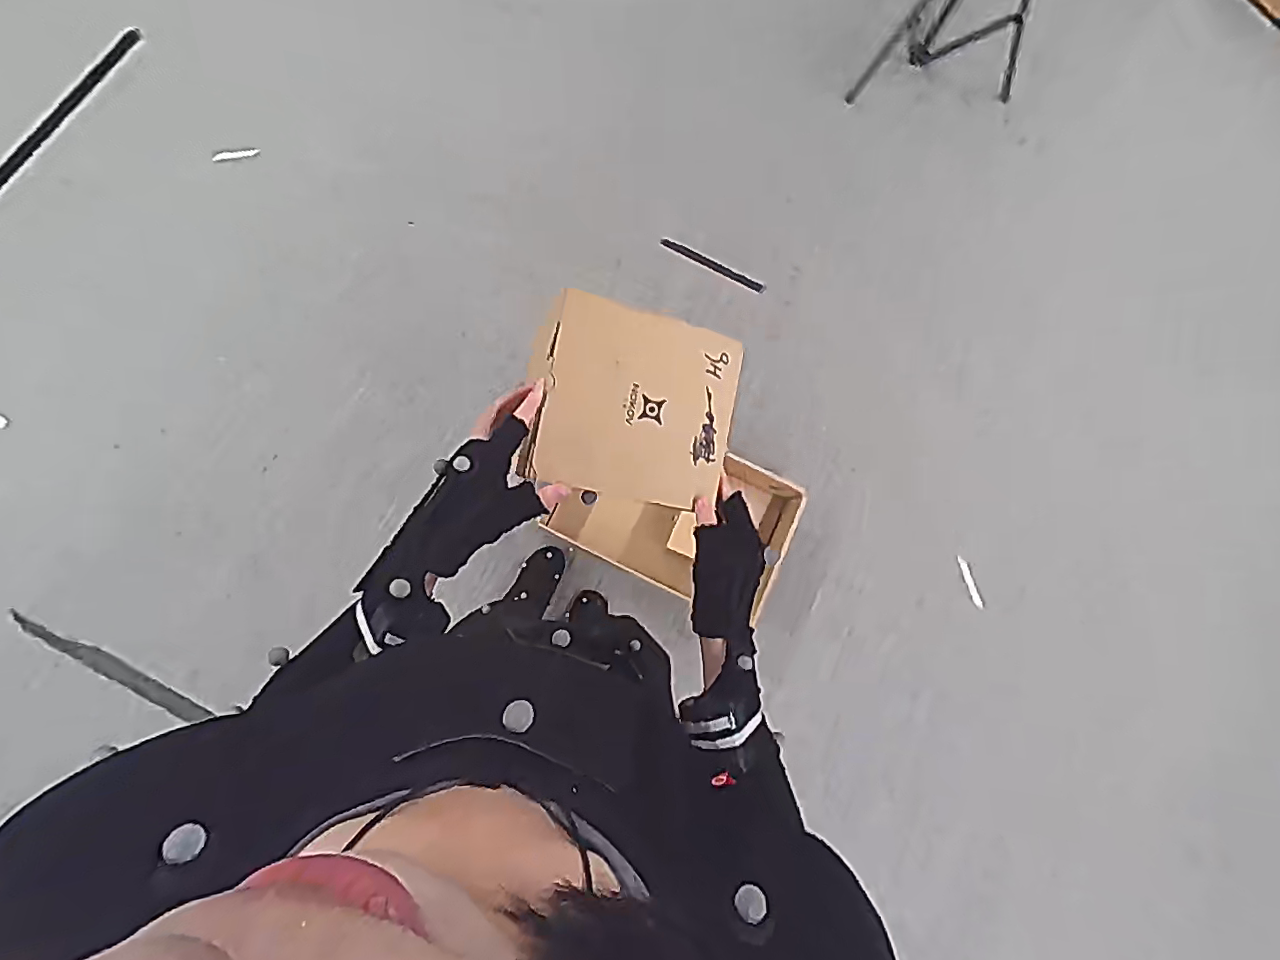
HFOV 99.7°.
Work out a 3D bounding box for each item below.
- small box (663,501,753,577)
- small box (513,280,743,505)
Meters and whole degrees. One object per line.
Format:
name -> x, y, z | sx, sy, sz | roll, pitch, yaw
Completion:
small box -> 0.175, 0.150, 1.445 | 0.179, 0.176, 0.168 | 24, 78, 2
small box -> -0.024, -0.072, 0.544 | 0.179, 0.176, 0.168 | 11, 87, -18
